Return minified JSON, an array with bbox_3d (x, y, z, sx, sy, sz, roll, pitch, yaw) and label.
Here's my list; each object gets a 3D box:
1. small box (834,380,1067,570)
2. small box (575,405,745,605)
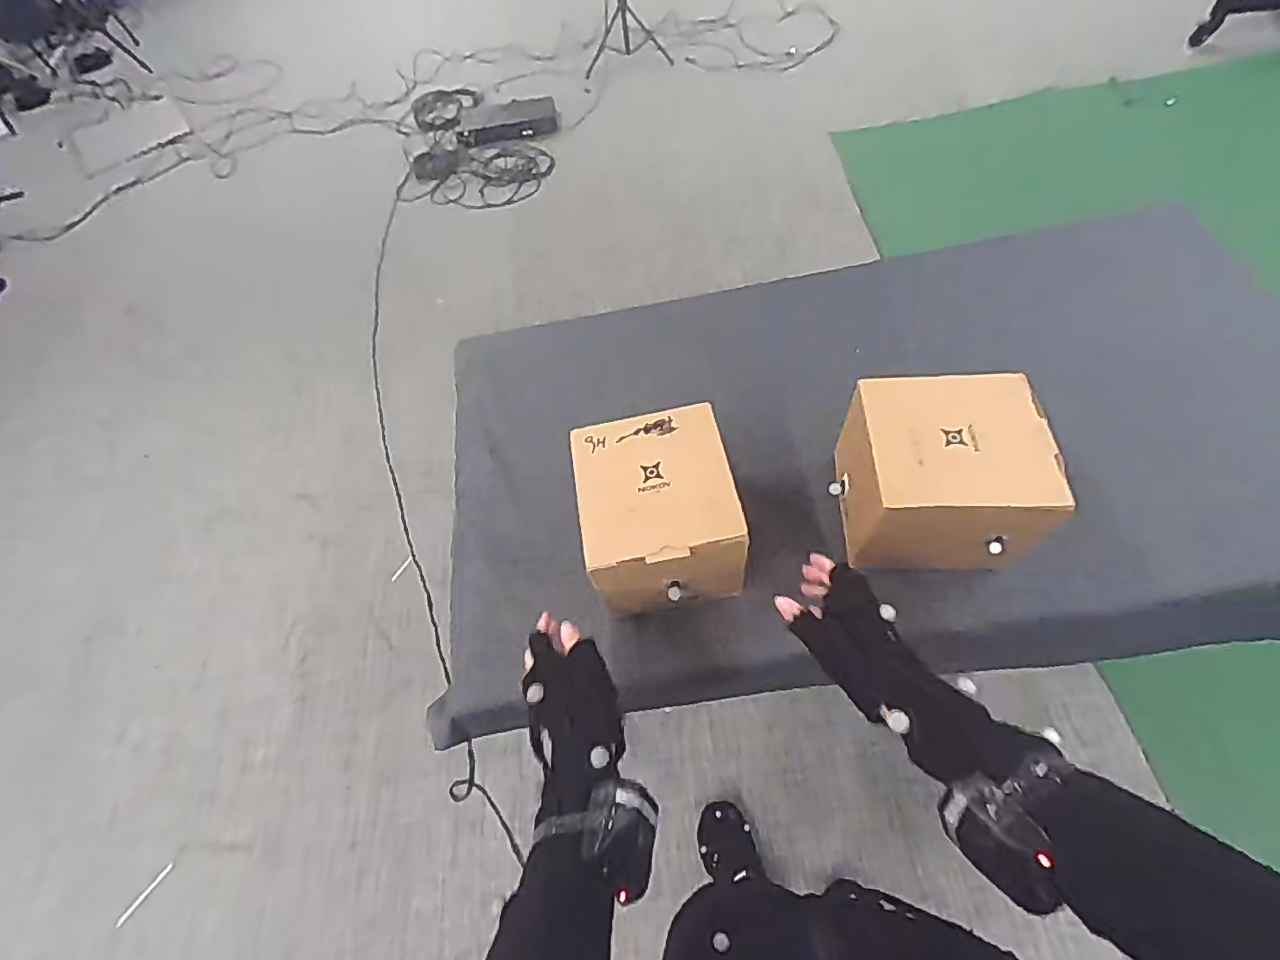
[{"bbox_3d":[0.339,0.000,0.633,0.179,0.176,0.168,0,61,9],"label":"small box"},{"bbox_3d":[0.025,0.041,0.649,0.168,0.176,0.179,-10,60,1],"label":"small box"}]
